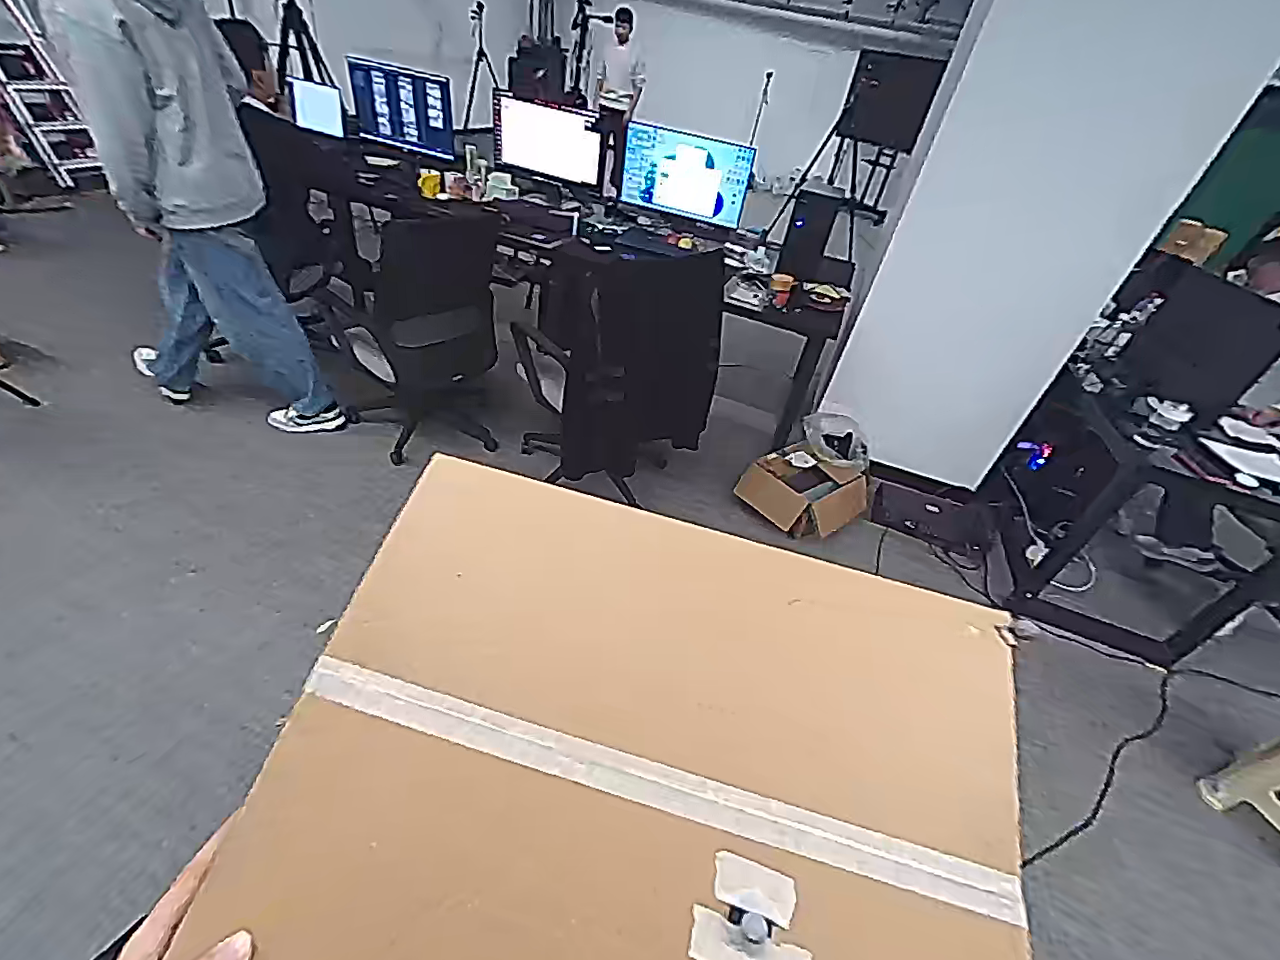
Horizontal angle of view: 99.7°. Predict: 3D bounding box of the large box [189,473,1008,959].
[{"bbox_3d":[-0.003,0.239,0.439,0.408,0.320,0.320,15,63,5],"label":"large box"}]
